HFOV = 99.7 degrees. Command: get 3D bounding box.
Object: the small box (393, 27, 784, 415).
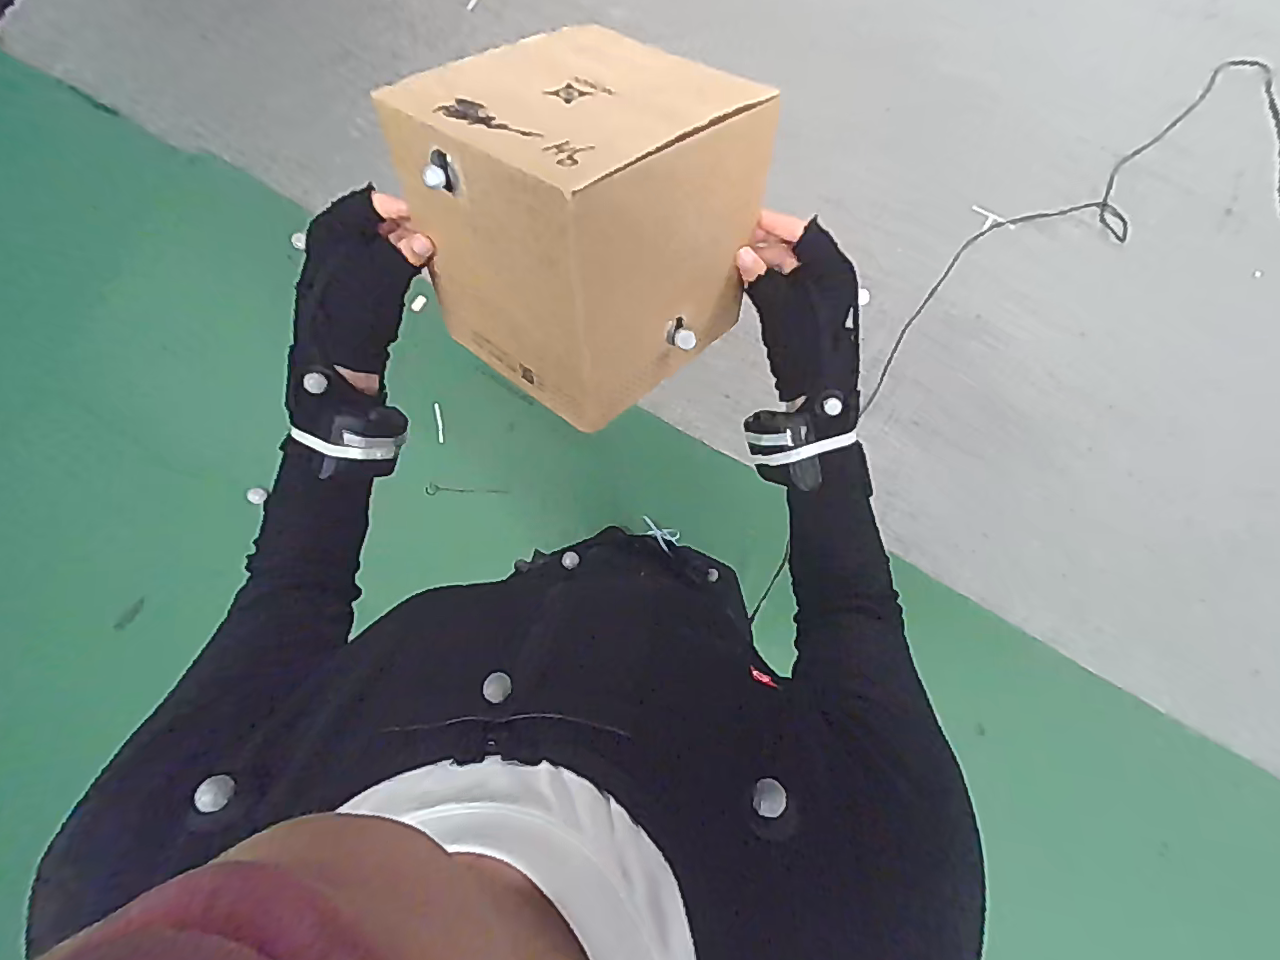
[{"bbox_3d":[-0.031,-0.181,0.383,0.168,0.176,0.179,37,60,23],"label":"small box"}]
